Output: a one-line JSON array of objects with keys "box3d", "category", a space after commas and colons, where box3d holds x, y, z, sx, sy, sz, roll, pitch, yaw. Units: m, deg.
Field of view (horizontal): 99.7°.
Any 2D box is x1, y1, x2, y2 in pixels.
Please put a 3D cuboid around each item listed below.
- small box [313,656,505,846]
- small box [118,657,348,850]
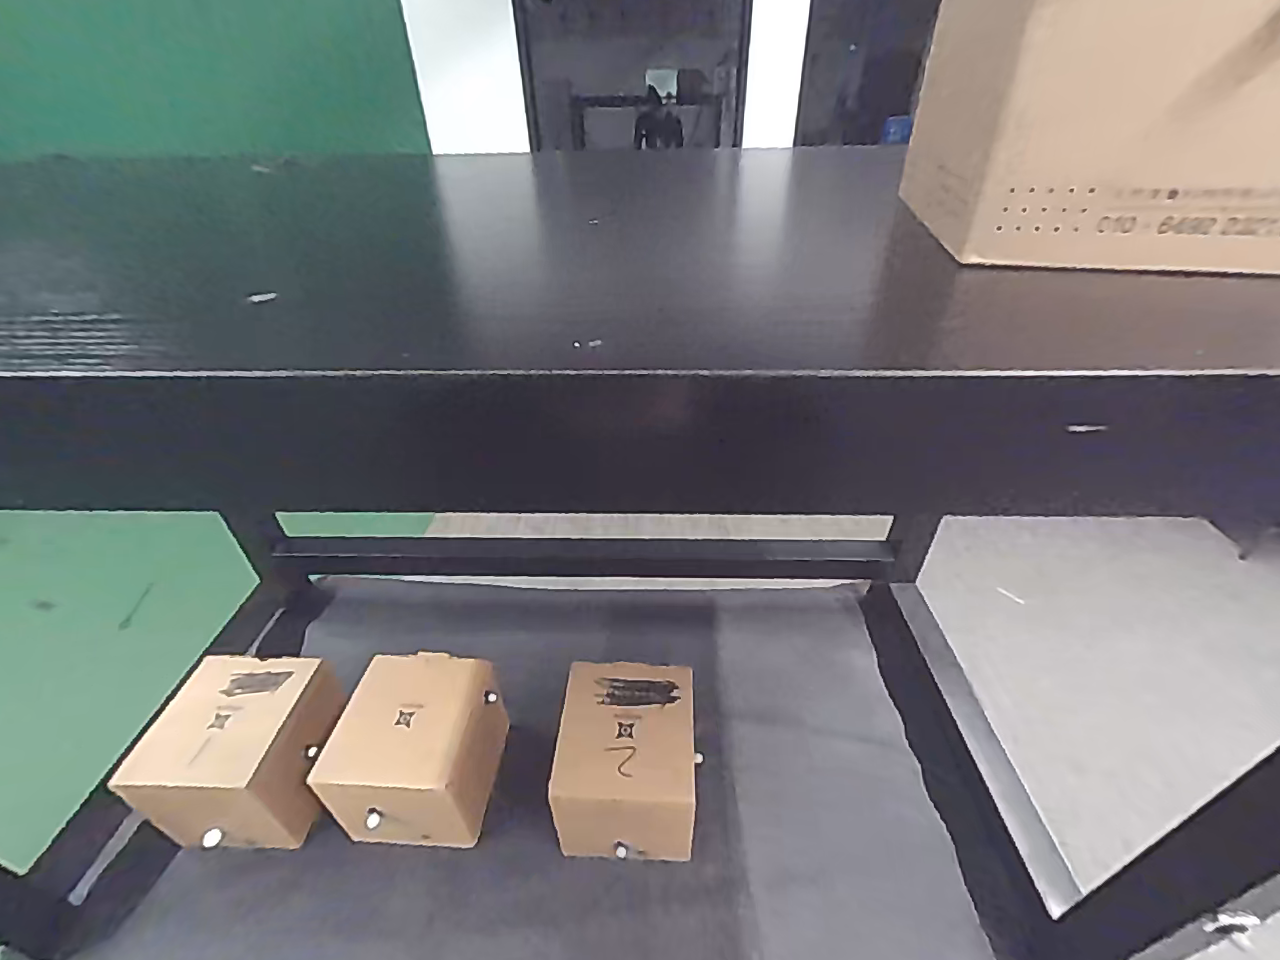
[{"box3d": [-0.291, 0.365, 0.733, 0.168, 0.176, 0.179, 1, 35, 3], "category": "small box"}, {"box3d": [-0.519, 0.366, 0.733, 0.168, 0.176, 0.179, 1, 36, 2], "category": "small box"}]
